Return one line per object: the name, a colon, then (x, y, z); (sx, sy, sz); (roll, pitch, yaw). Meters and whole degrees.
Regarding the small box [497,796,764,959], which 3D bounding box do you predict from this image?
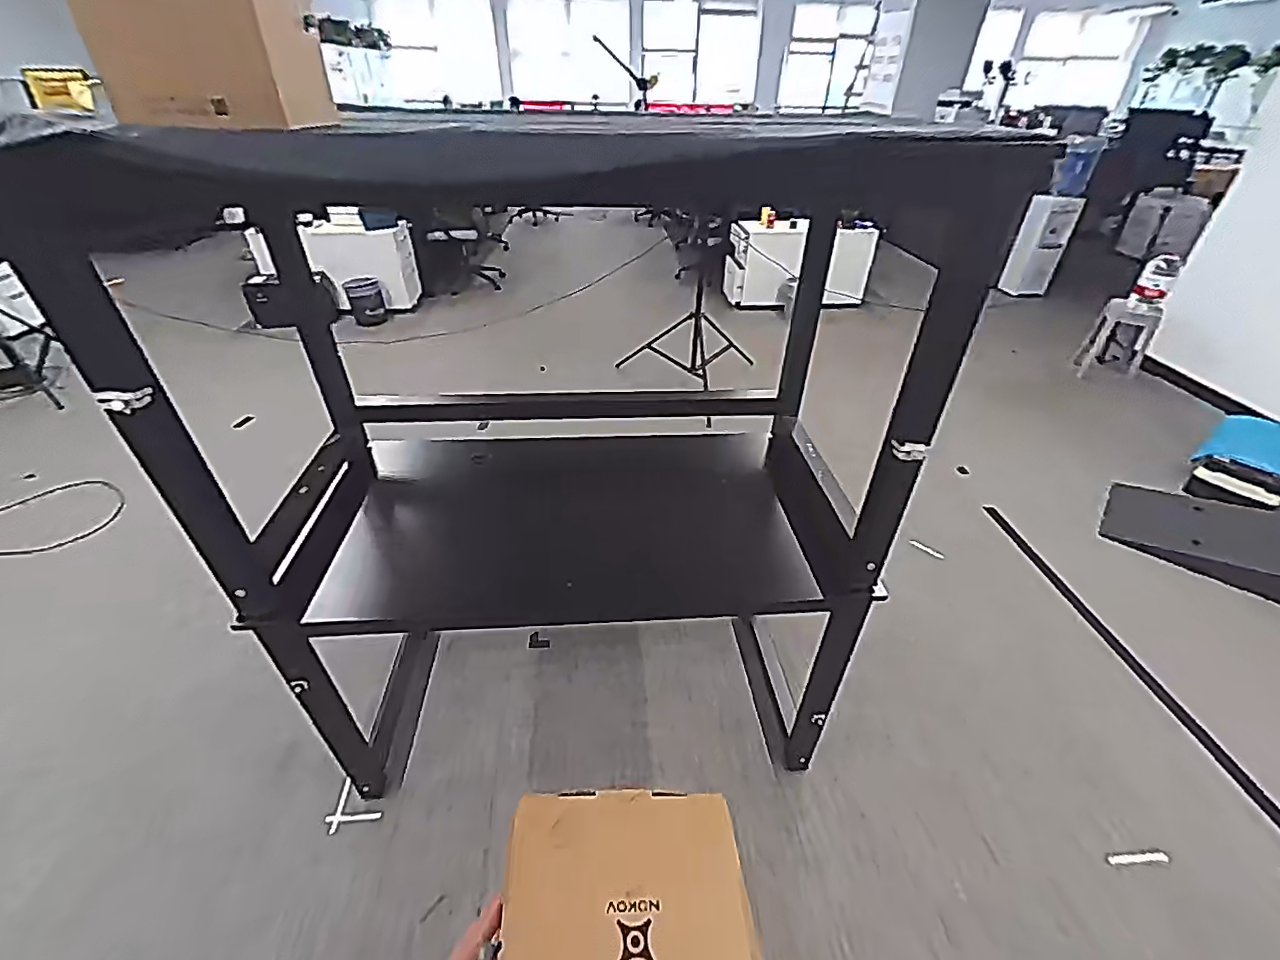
small box: (-0.018, 0.358, 0.389); (0.168, 0.176, 0.179); (6, 35, -12)
